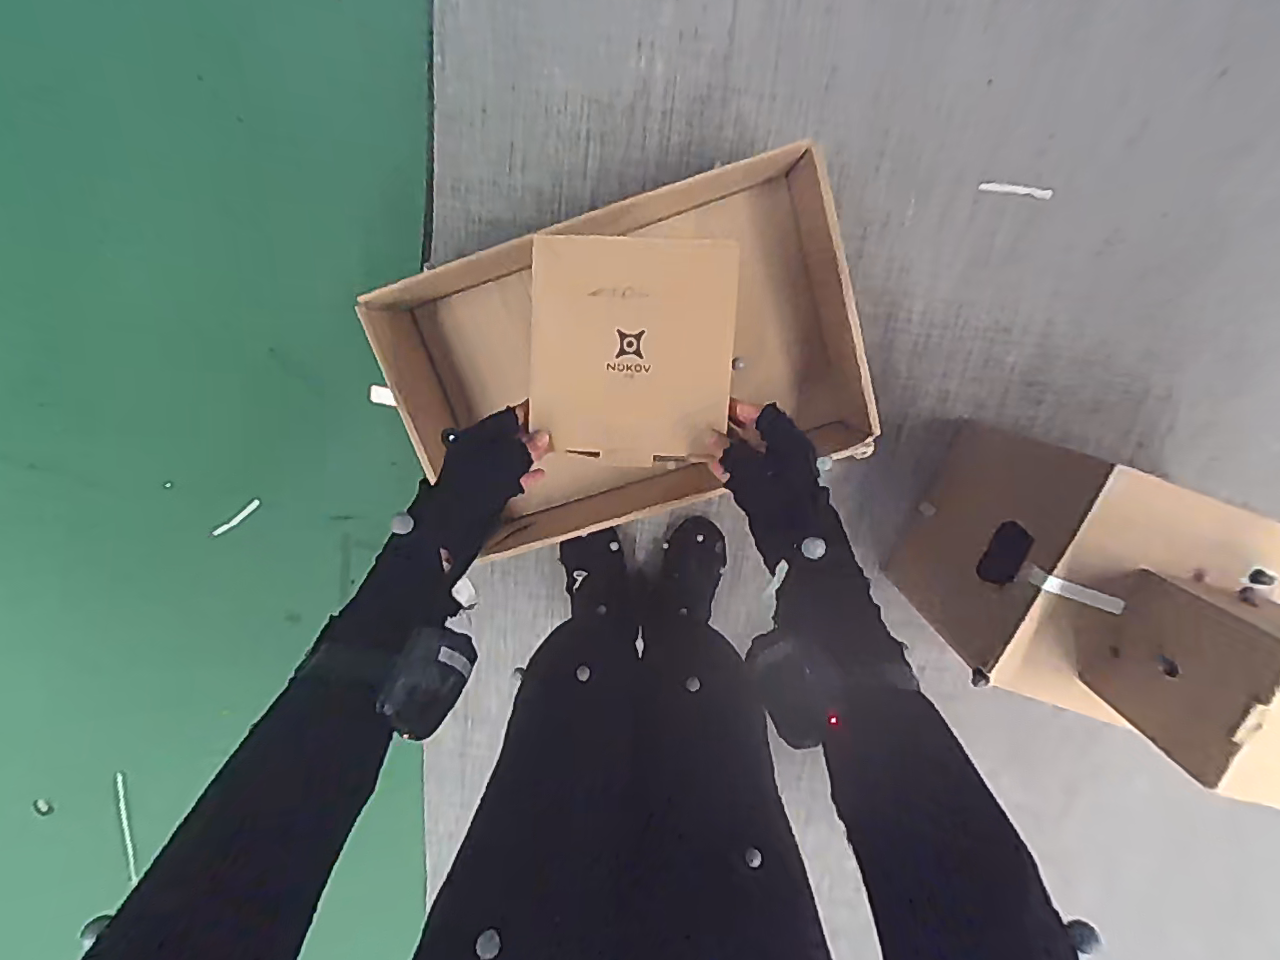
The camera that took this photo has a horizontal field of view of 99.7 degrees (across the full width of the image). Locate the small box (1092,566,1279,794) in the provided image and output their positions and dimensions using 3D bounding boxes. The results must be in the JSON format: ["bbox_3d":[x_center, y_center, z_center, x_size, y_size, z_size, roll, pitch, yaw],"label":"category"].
[{"bbox_3d":[0.660,0.212,0.587,0.179,0.176,0.168,13,108,-2],"label":"small box"}]
